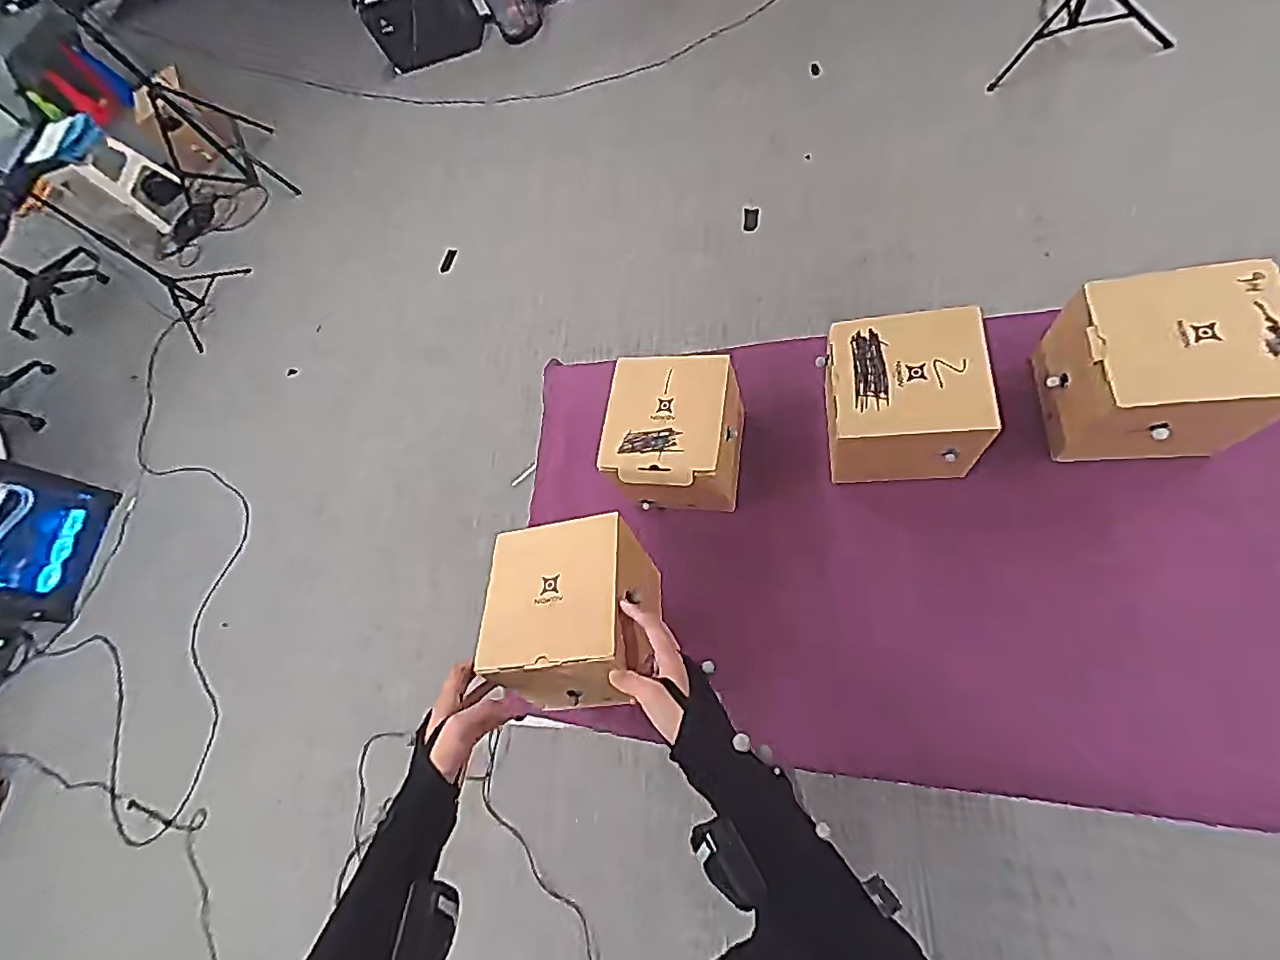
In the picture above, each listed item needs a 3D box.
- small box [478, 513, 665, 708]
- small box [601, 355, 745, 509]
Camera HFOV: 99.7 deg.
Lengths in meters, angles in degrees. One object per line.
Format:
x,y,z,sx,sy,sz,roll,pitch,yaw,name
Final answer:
-0.071,0.167,0.670,0.168,0.176,0.179,-12,52,16,small box
0.059,-0.063,0.797,0.168,0.176,0.179,3,71,18,small box
